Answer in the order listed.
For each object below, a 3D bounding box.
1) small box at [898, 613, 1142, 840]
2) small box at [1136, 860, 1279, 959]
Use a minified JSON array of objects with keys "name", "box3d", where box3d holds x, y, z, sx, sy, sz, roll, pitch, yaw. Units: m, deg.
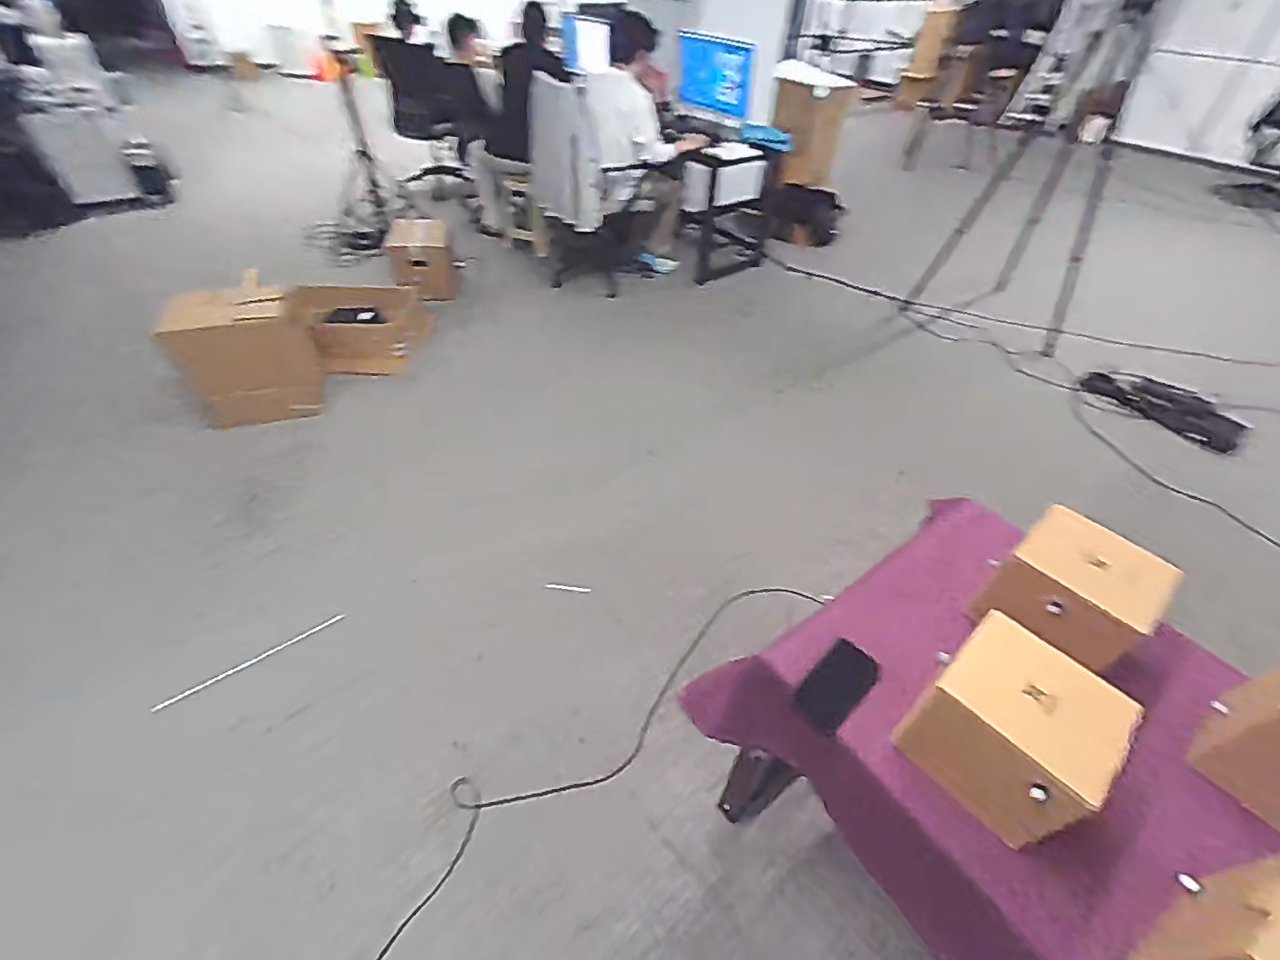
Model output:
[{"name":"small box","box3d":[0.472,0.316,0.697,0.168,0.176,0.179,-30,54,-30]},{"name":"small box","box3d":[0.642,0.502,0.511,0.168,0.176,0.179,-20,49,-22]}]
